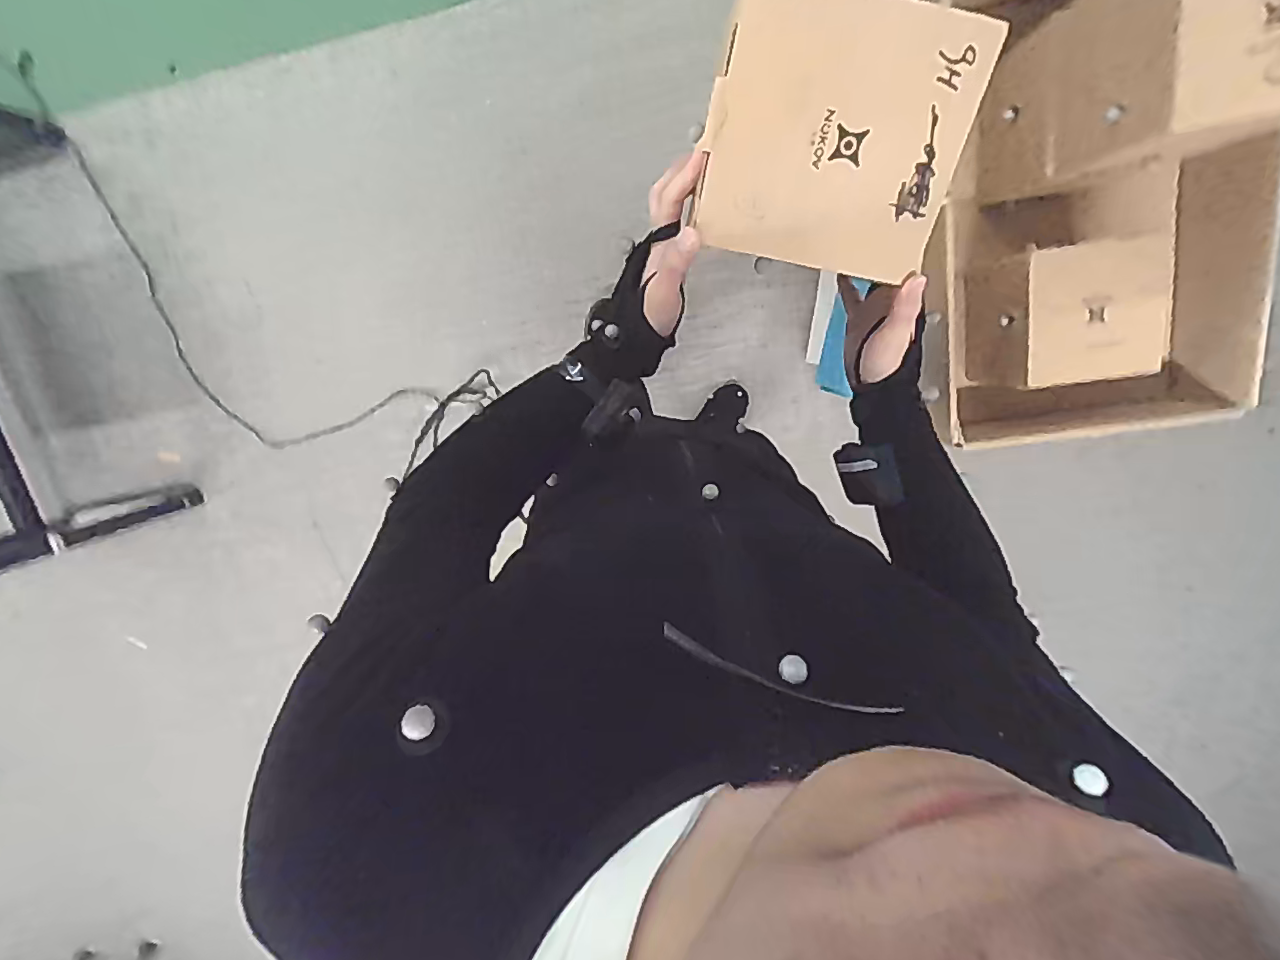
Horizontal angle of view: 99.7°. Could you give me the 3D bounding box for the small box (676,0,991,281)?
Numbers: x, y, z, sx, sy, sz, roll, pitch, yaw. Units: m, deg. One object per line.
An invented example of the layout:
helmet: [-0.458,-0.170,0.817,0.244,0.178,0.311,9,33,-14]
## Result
small box: [0.132,-0.272,0.451,0.179,0.176,0.168,11,115,-1]
